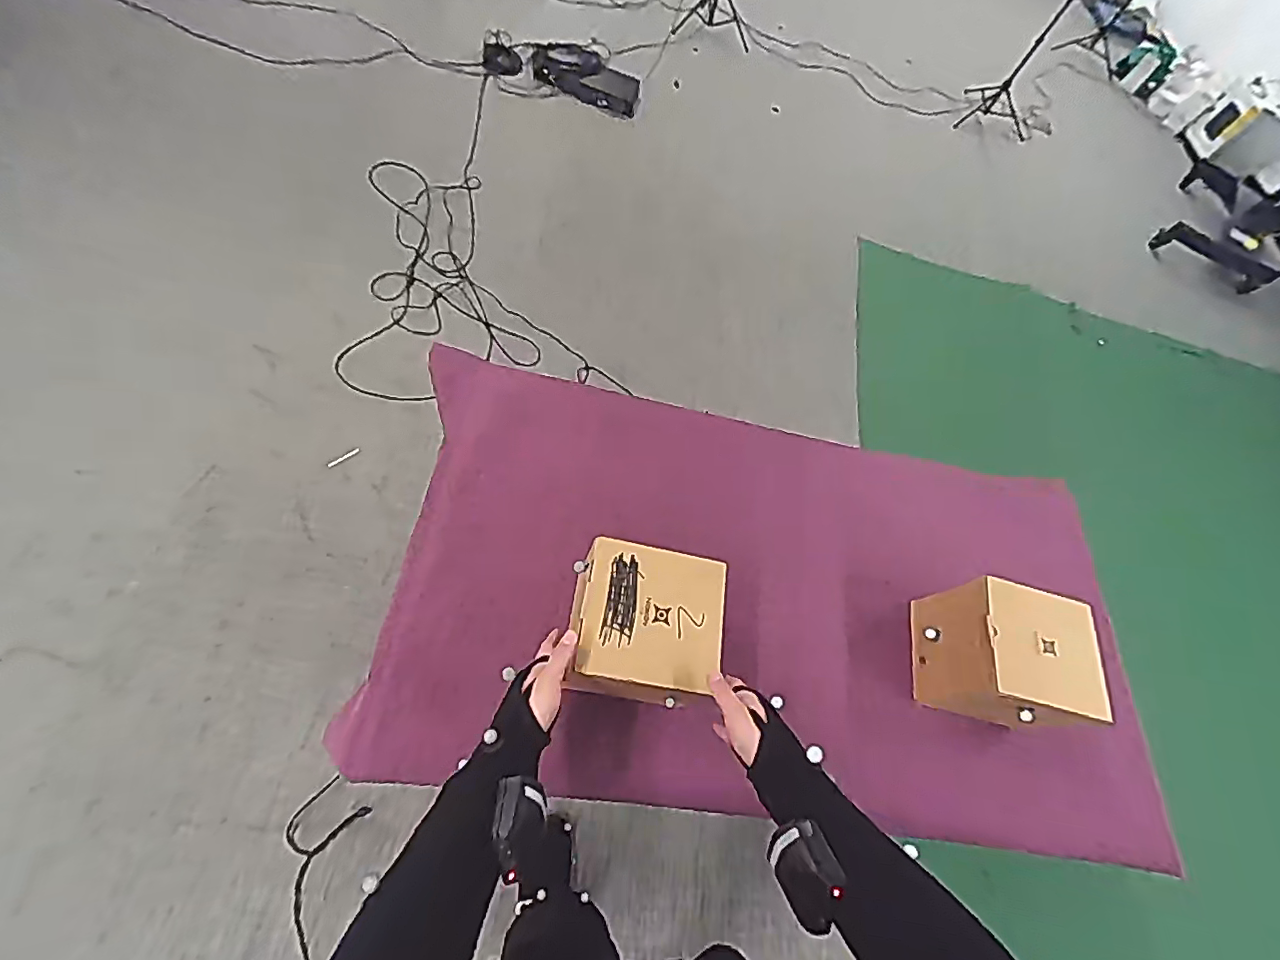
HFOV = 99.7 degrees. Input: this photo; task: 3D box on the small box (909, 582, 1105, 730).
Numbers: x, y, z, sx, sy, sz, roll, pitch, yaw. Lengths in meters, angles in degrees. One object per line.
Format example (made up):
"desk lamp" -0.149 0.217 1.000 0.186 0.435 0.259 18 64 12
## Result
"small box" 0.545 0.274 0.827 0.179 0.176 0.168 17 62 -5
